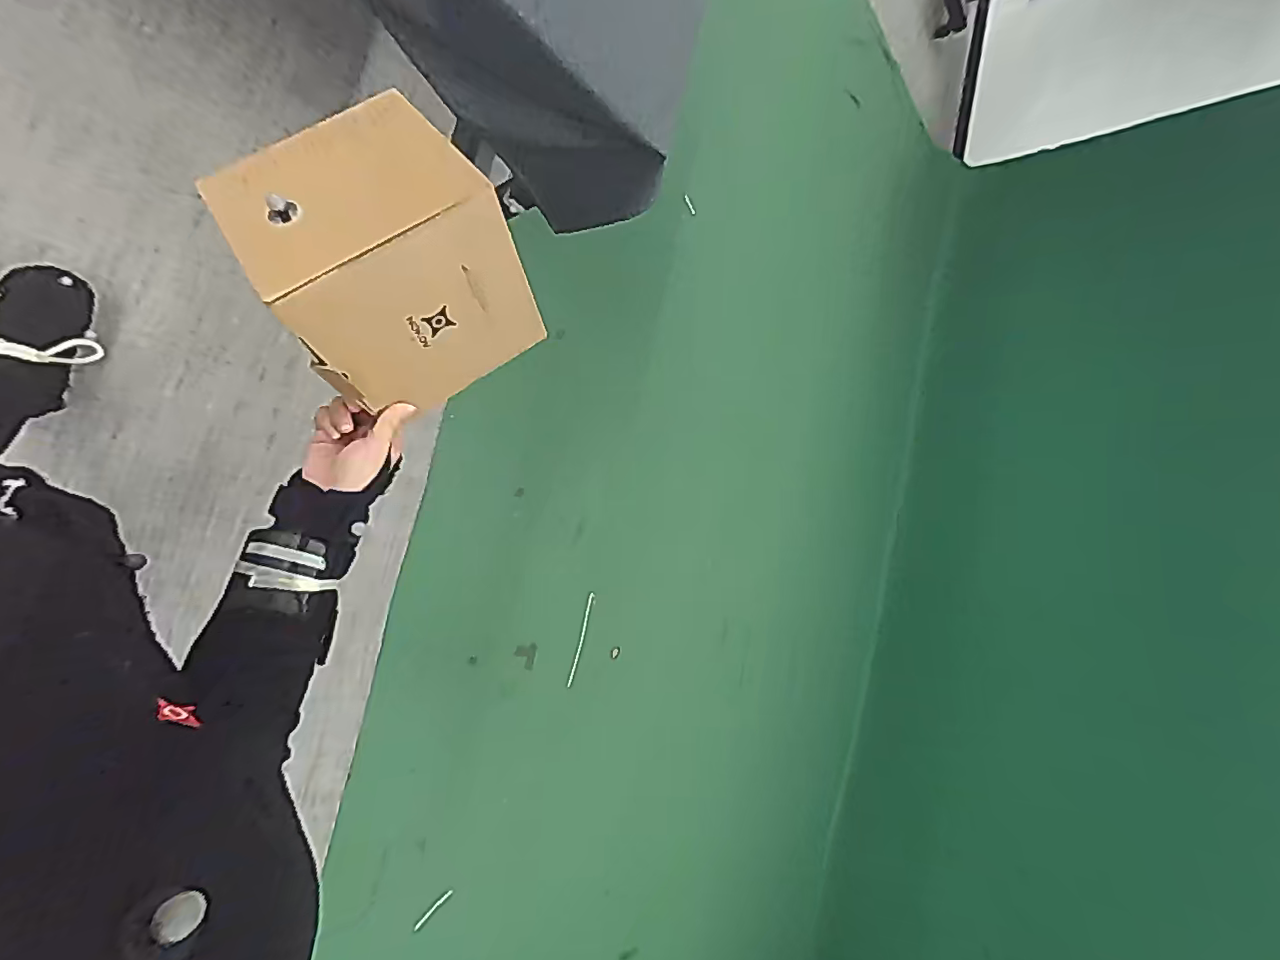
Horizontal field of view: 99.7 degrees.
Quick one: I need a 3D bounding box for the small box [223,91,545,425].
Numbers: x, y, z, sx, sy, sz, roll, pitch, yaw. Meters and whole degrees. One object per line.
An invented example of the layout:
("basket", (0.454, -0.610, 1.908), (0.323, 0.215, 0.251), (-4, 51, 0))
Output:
("small box", (-0.215, -0.188, 0.470), (0.179, 0.176, 0.168), (-36, 157, -11))
